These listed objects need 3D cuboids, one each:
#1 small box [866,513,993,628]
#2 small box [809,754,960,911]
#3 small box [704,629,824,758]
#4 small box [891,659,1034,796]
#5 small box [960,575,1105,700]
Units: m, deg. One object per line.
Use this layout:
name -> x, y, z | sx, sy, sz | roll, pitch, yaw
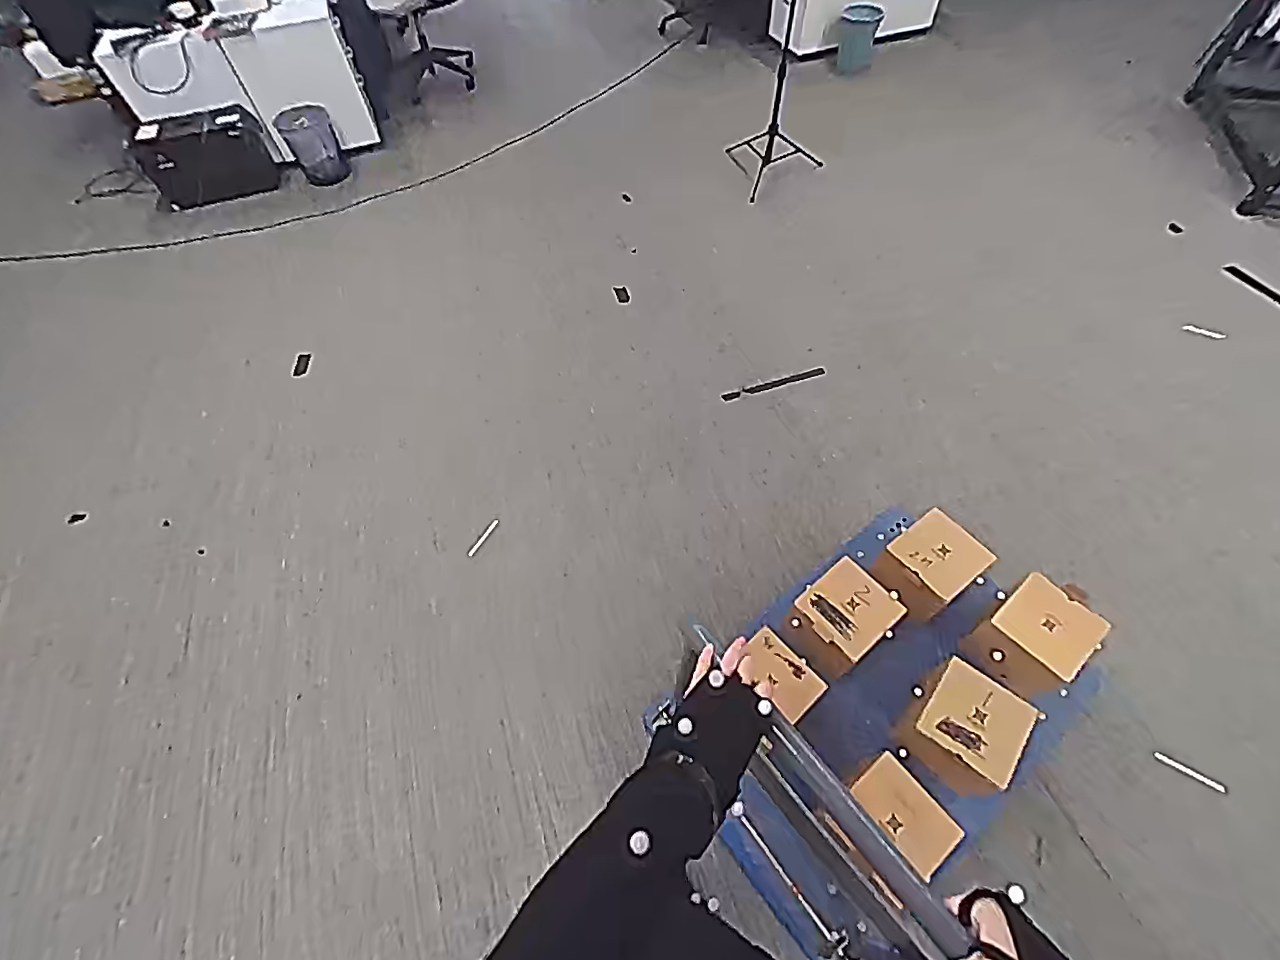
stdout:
small box -> 0.667, 0.215, 1.269 | 0.179, 0.176, 0.168 | -32, 60, -16
small box -> 0.435, 0.644, 0.996 | 0.179, 0.176, 0.168 | -32, 61, -18
small box -> 0.250, 0.452, 1.131 | 0.179, 0.176, 0.168 | -37, 63, -19
small box -> 0.631, 0.499, 1.082 | 0.168, 0.176, 0.179 | 34, 63, 23
small box -> 0.837, 0.347, 1.175 | 0.179, 0.176, 0.168 | -36, 61, -20
